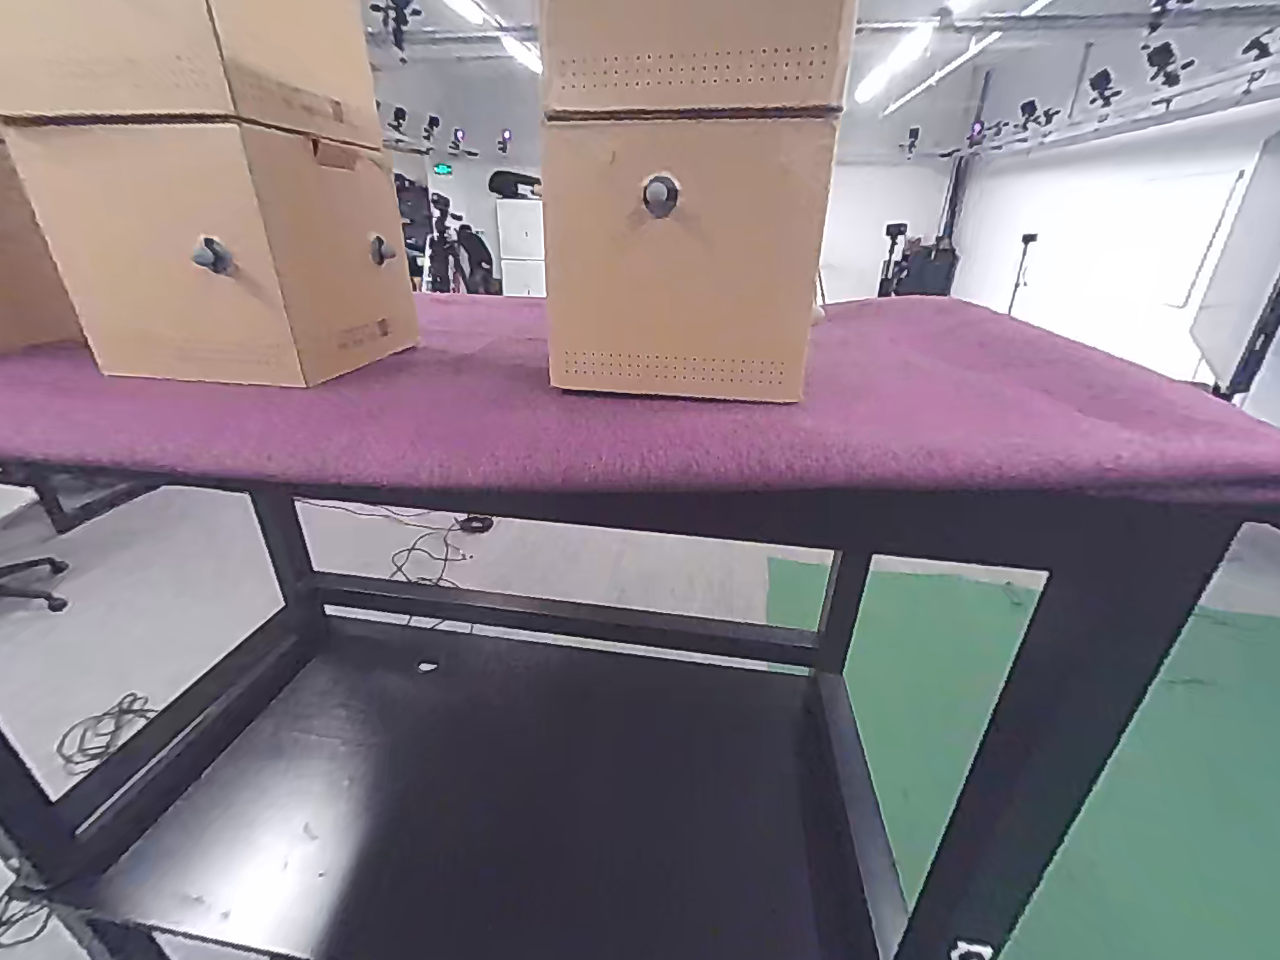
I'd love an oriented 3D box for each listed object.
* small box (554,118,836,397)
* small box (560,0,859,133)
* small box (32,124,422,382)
[{"bbox_3d":[0.042,-0.165,0.427,0.179,0.176,0.168,6,23,8],"label":"small box"},{"bbox_3d":[0.049,-0.317,0.364,0.179,0.176,0.168,5,23,10],"label":"small box"},{"bbox_3d":[-0.307,-0.183,0.450,0.179,0.176,0.168,4,24,7],"label":"small box"}]
